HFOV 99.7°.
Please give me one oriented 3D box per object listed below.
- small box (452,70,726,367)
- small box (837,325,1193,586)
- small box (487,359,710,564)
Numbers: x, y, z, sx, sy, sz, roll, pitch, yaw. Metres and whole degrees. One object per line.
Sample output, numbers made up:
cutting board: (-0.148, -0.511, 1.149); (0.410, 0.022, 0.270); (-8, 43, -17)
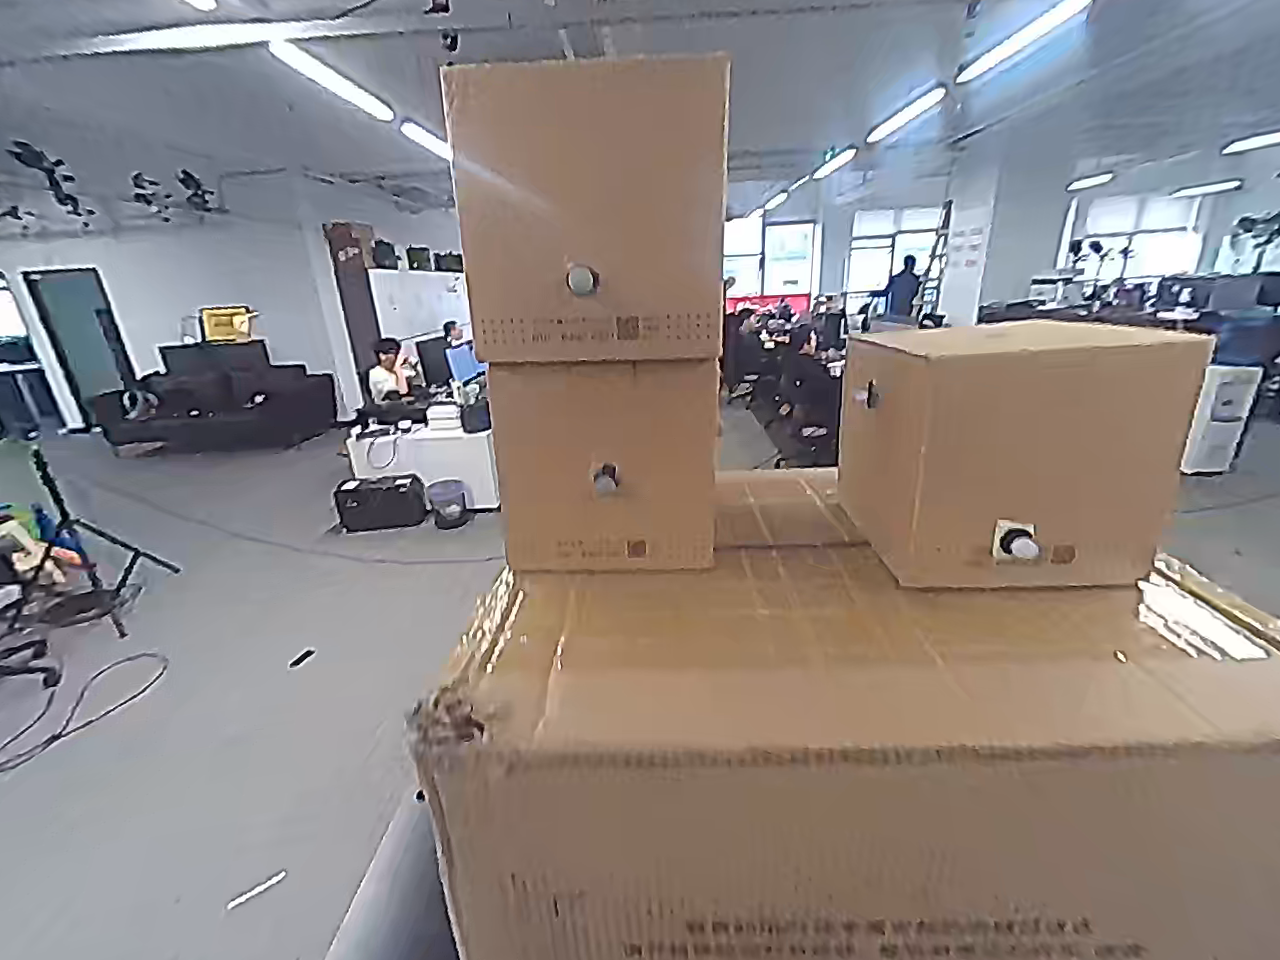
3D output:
small box: (-0.026, -0.184, 0.419); (0.168, 0.176, 0.179); (-1, 20, 3)
small box: (0.267, -0.029, 0.439); (0.168, 0.176, 0.179); (-3, 20, 5)
small box: (-0.024, -0.034, 0.490); (0.168, 0.176, 0.179); (-1, 20, 2)
